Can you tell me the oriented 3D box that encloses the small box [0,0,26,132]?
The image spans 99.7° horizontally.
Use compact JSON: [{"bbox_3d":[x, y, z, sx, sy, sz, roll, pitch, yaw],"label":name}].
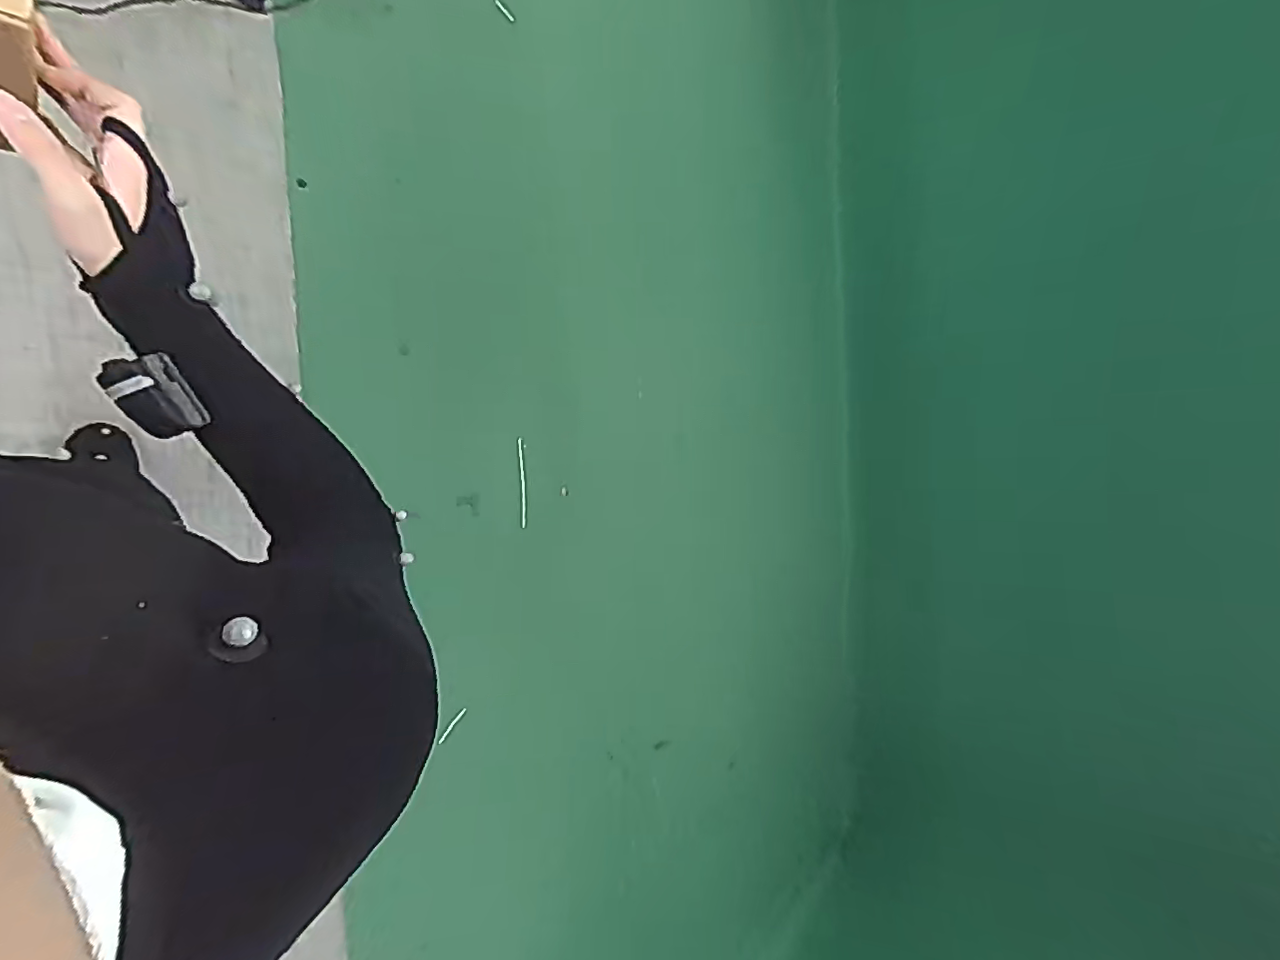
[{"bbox_3d":[-0.477,-0.346,0.306,0.168,0.176,0.179,-3,88,-48],"label":"small box"}]
